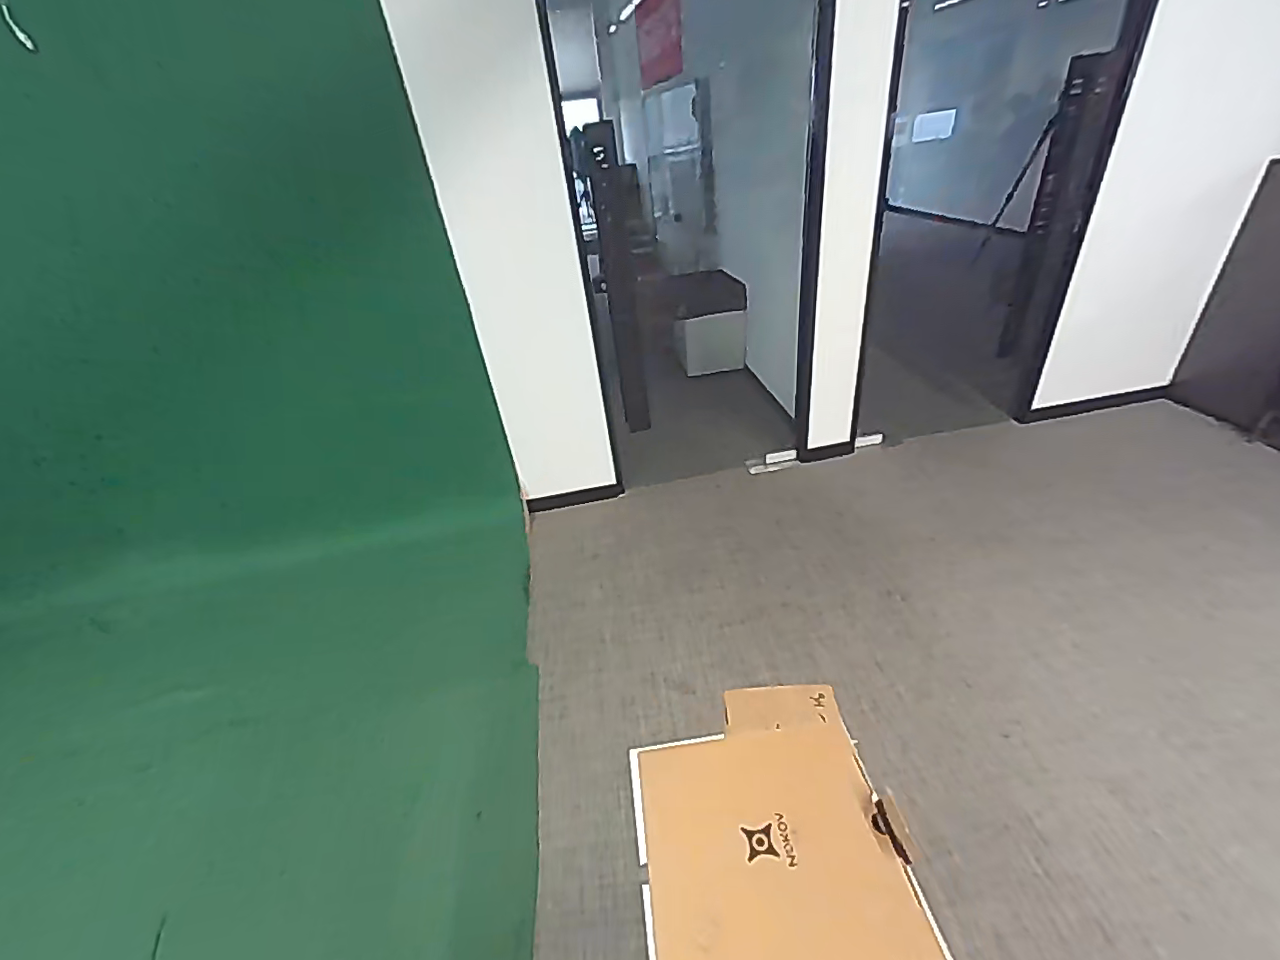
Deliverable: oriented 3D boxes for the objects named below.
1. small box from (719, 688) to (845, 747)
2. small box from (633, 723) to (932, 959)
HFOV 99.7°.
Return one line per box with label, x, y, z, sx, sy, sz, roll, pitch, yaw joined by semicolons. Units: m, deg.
small box;0.224;0.455;0.855;0.179;0.176;0.168;-5;33;5
small box;0.095;0.327;0.428;0.179;0.176;0.168;-8;31;-1
